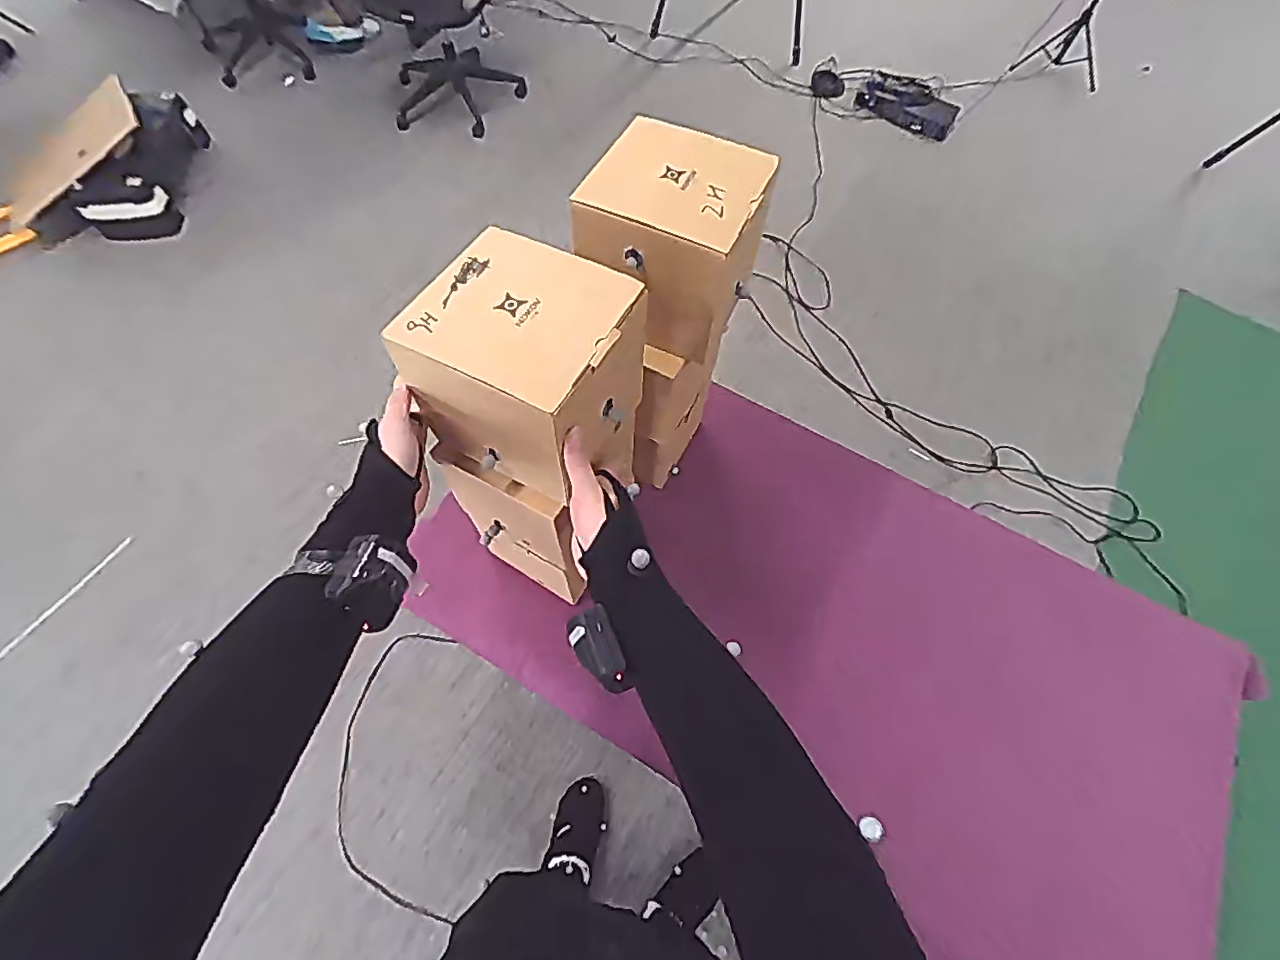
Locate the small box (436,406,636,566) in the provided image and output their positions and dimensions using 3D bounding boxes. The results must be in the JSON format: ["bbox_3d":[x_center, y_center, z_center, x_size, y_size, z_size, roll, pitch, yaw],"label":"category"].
[{"bbox_3d":[-0.121,-0.021,0.687,0.168,0.176,0.179,27,65,12],"label":"small box"}]

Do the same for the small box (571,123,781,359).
[{"bbox_3d":[0.038,-0.273,0.638,0.179,0.176,0.168,24,65,9],"label":"small box"}]

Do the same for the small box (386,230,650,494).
[{"bbox_3d":[-0.107,-0.108,0.547,0.179,0.176,0.168,26,62,11],"label":"small box"}]
